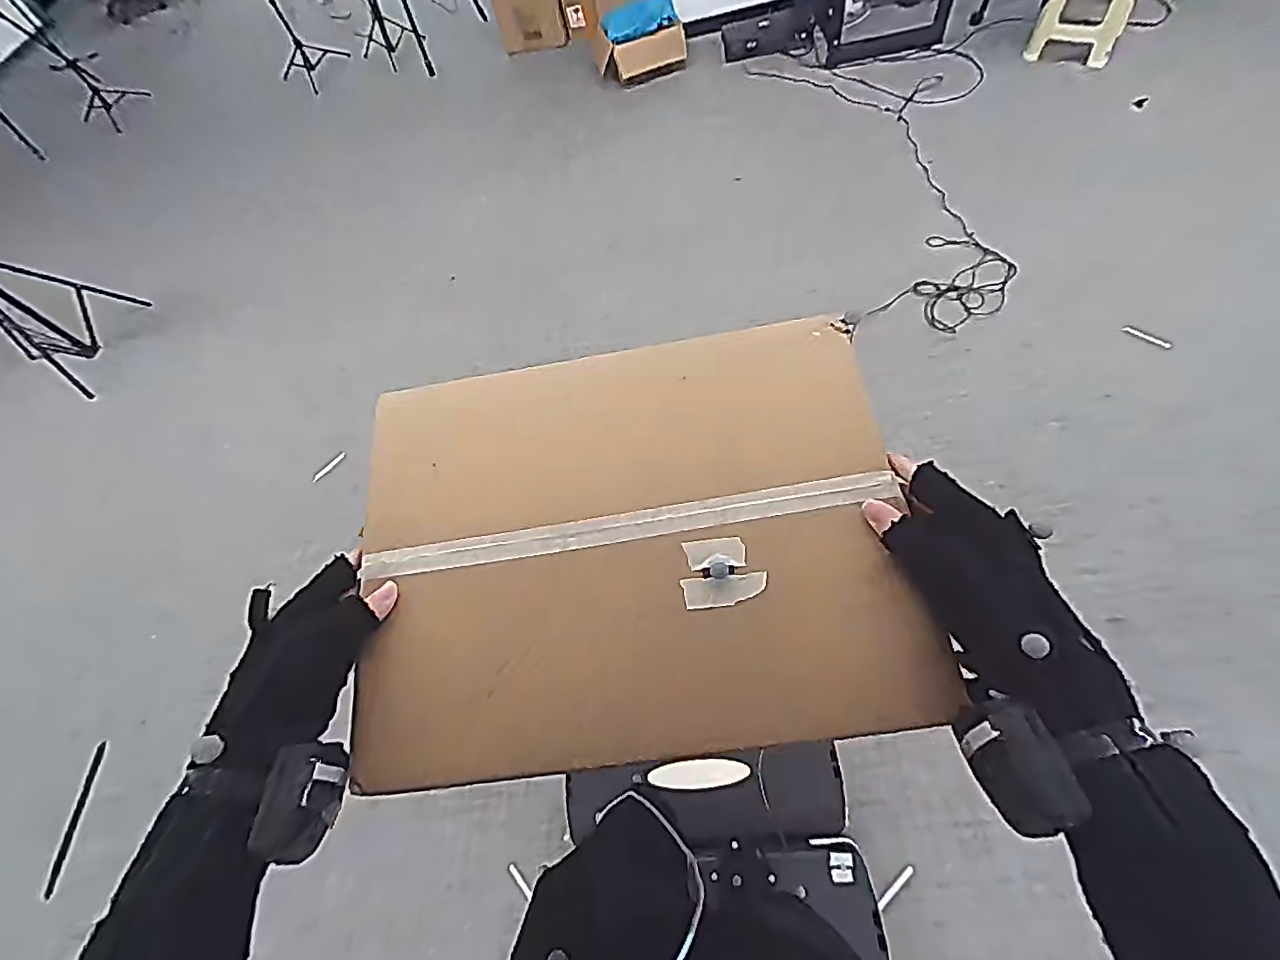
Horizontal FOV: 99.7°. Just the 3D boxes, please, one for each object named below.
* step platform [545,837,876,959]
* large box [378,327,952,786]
[{"bbox_3d":[0.141,0.966,1.165,0.684,0.204,0.286,-9,59,8],"label":"step platform"},{"bbox_3d":[0.009,0.096,0.557,0.408,0.320,0.320,-9,68,4],"label":"large box"}]
